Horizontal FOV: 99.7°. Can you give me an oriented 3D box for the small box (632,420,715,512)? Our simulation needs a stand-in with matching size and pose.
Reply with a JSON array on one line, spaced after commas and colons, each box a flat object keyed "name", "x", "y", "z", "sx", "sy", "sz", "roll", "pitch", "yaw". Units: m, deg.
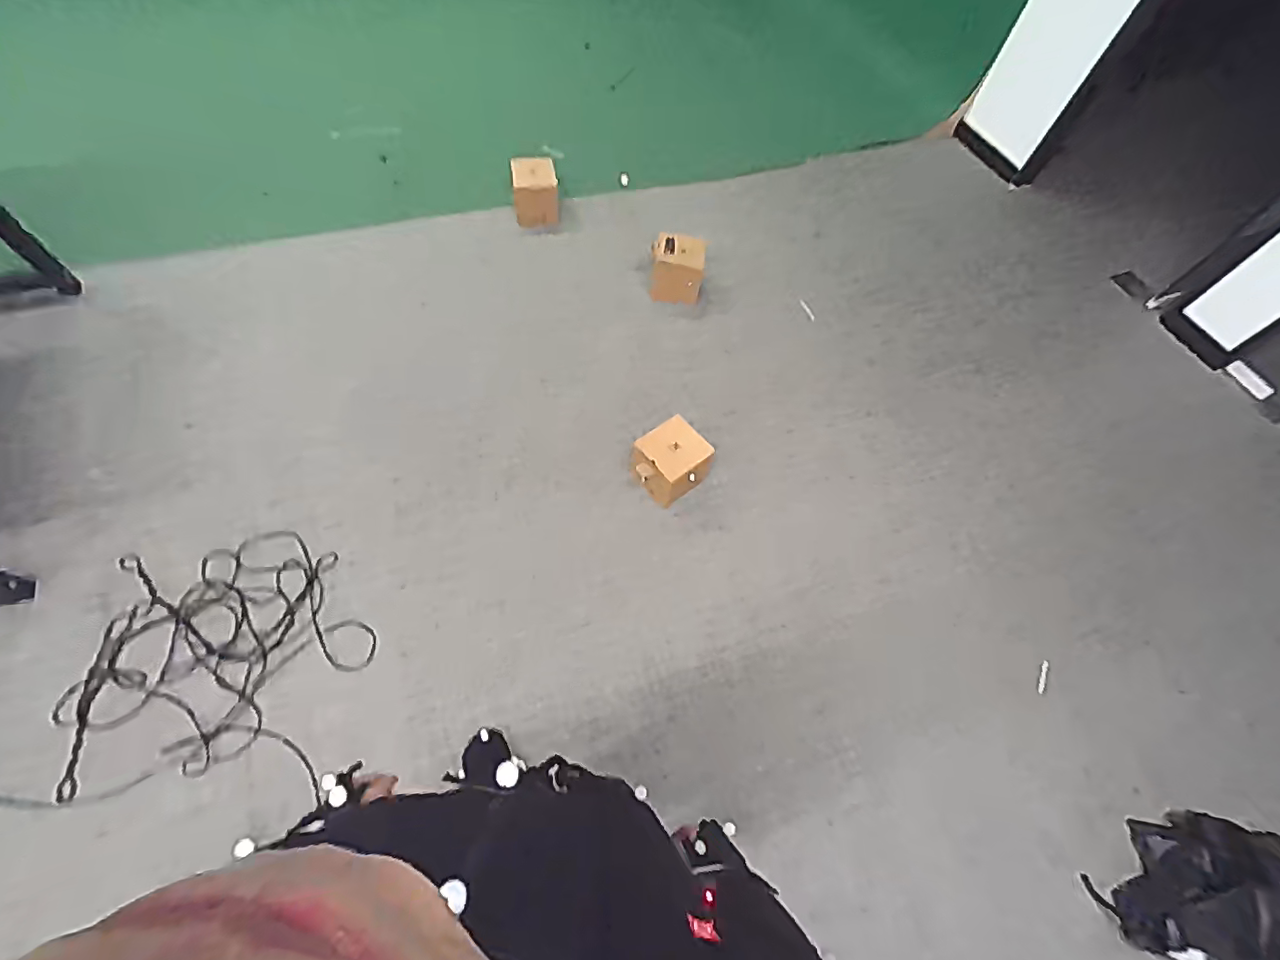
[{"name": "small box", "x": 0.092, "y": -0.038, "z": 1.610, "sx": 0.179, "sy": 0.176, "sz": 0.168, "roll": -36, "pitch": 69, "yaw": -21}]

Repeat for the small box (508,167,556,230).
[{"name": "small box", "x": -0.432, "y": -1.130, "z": 2.180, "sx": 0.168, "sy": 0.176, "sz": 0.179, "roll": -8, "pitch": 61, "yaw": -12}]
